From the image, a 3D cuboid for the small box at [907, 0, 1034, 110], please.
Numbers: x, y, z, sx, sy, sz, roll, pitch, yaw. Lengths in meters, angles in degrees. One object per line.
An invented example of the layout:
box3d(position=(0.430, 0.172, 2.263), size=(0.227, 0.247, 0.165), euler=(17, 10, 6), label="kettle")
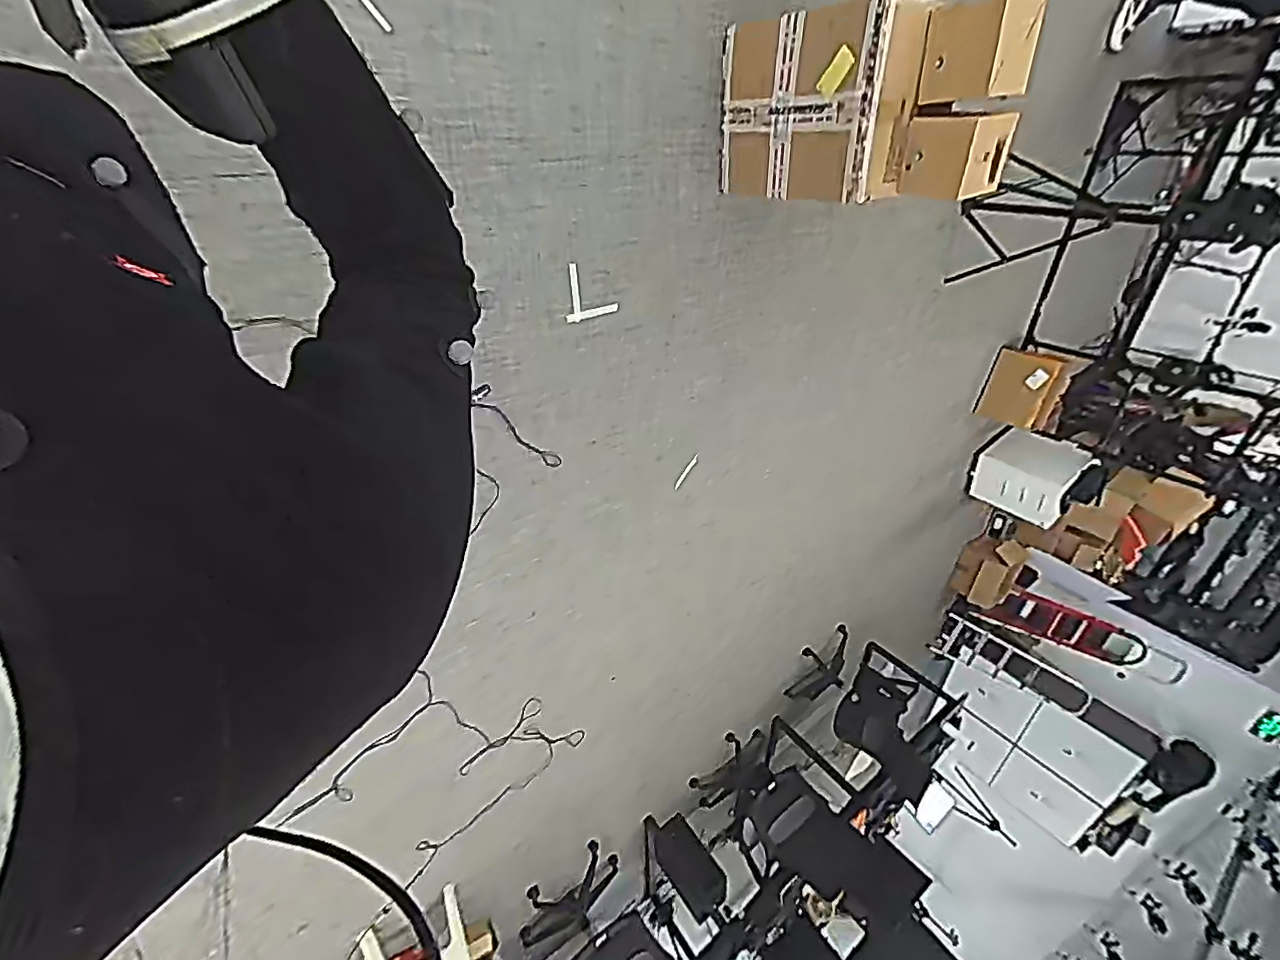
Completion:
box3d(position=(0.743, -0.955, 1.224), size=(0.168, 0.176, 0.179), euler=(-24, 127, -27), label="small box")
